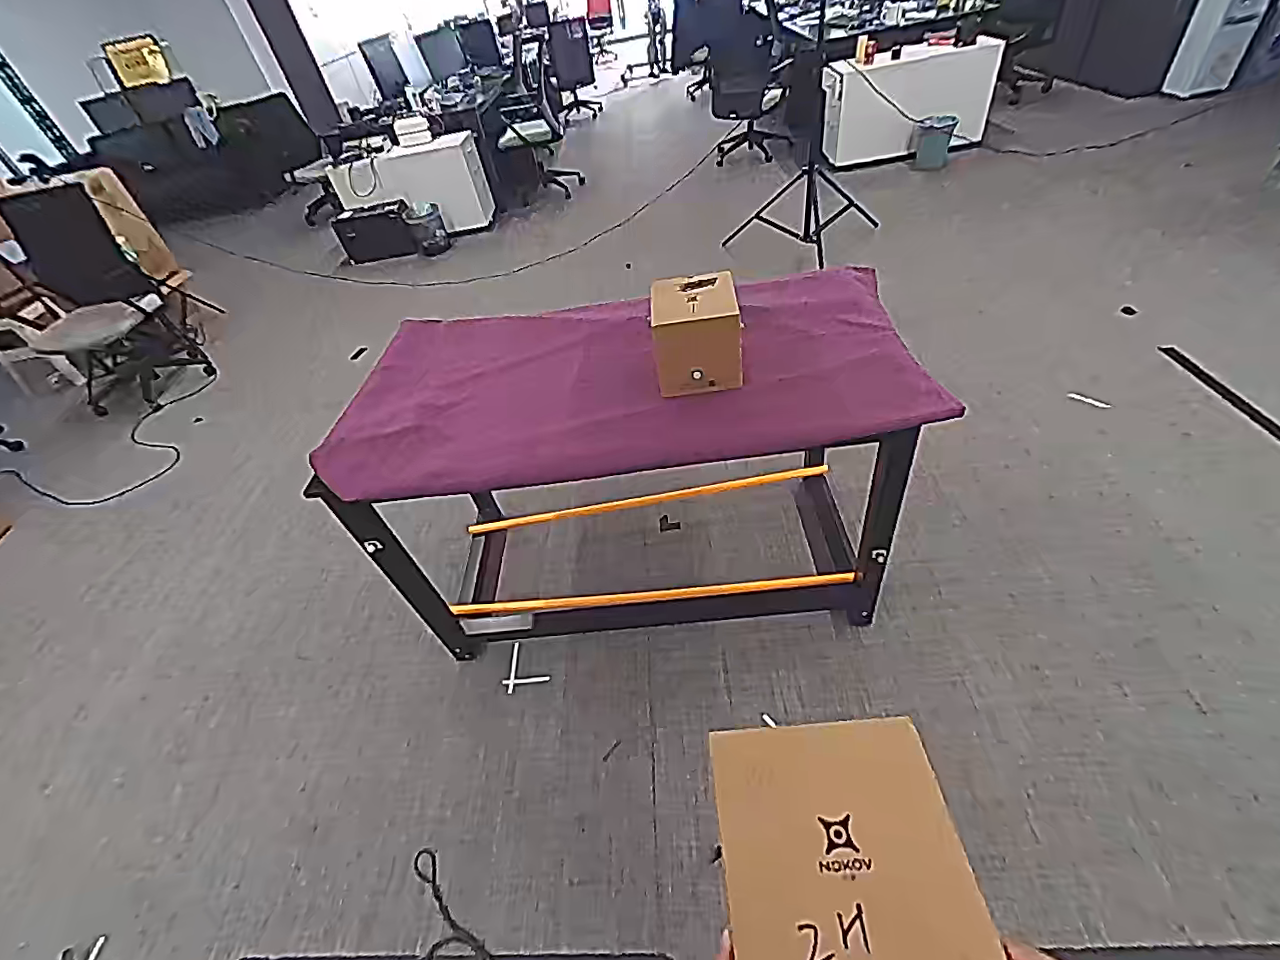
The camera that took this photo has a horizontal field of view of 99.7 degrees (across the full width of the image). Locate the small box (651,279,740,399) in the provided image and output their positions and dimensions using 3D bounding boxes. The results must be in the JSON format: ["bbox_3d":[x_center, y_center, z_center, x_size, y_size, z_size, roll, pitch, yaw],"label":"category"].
[{"bbox_3d":[0.115,-0.289,1.112,0.168,0.176,0.179,-6,44,7],"label":"small box"}]

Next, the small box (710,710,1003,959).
[{"bbox_3d":[0.148,0.312,0.436,0.168,0.176,0.179,-6,41,5],"label":"small box"}]
